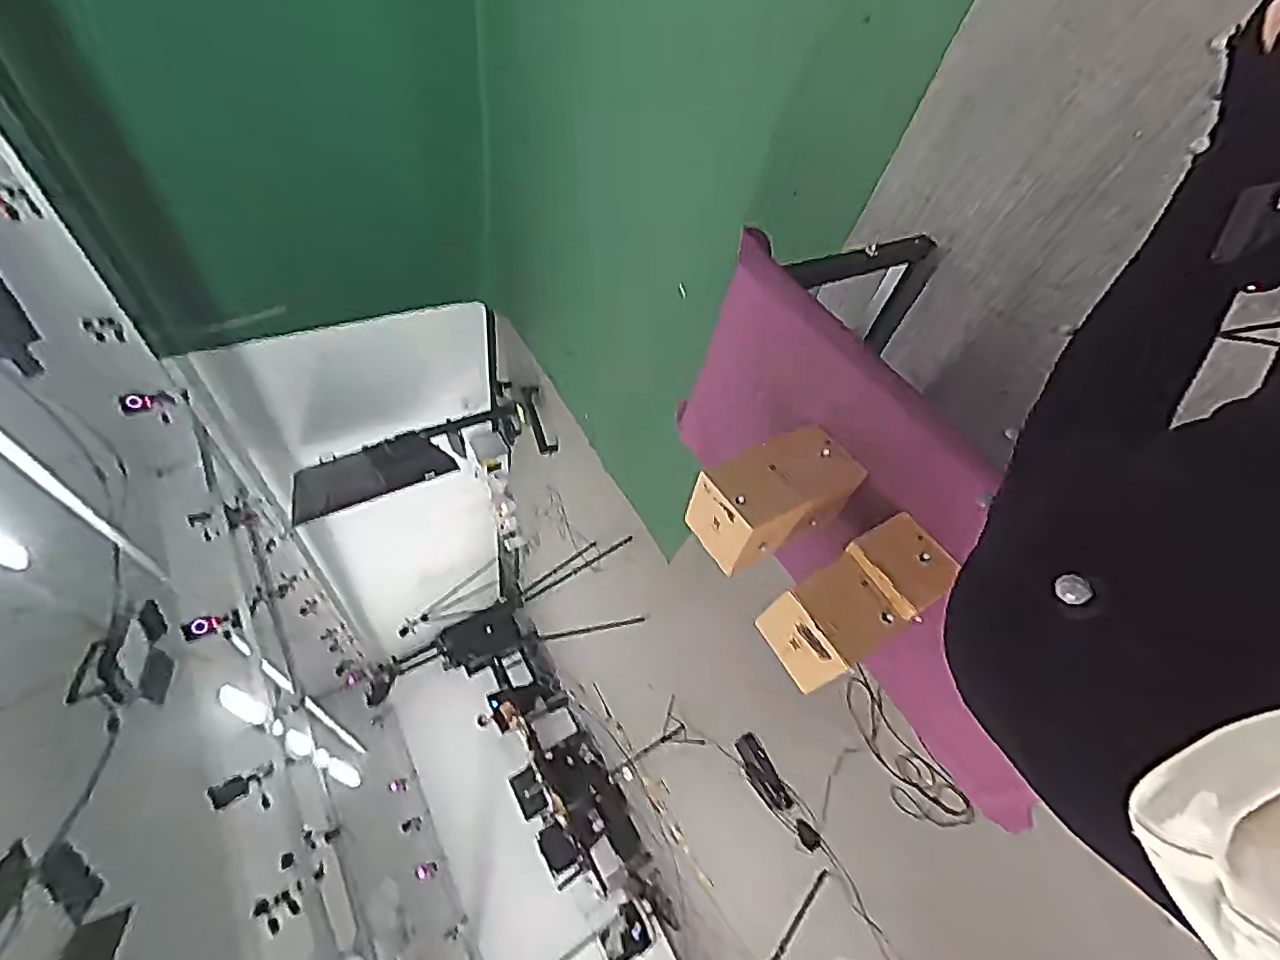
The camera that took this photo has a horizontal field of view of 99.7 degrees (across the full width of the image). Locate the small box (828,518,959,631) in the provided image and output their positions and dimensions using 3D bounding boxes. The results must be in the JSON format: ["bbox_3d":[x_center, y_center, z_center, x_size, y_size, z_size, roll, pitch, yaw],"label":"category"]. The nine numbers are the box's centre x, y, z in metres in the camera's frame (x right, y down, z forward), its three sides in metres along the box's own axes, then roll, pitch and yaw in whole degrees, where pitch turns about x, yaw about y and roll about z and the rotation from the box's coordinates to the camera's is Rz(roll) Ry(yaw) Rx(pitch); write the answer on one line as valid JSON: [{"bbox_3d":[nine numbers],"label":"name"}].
[{"bbox_3d":[0.496,0.208,1.093,0.168,0.176,0.179,53,149,28],"label":"small box"}]

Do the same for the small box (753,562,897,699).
[{"bbox_3d":[0.357,0.285,1.039,0.168,0.176,0.179,55,151,24],"label":"small box"}]

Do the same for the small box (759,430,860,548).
[{"bbox_3d":[0.353,0.017,1.209,0.168,0.176,0.179,52,149,28],"label":"small box"}]

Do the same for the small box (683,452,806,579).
[{"bbox_3d":[0.217,0.071,1.136,0.168,0.176,0.179,51,149,29],"label":"small box"}]
